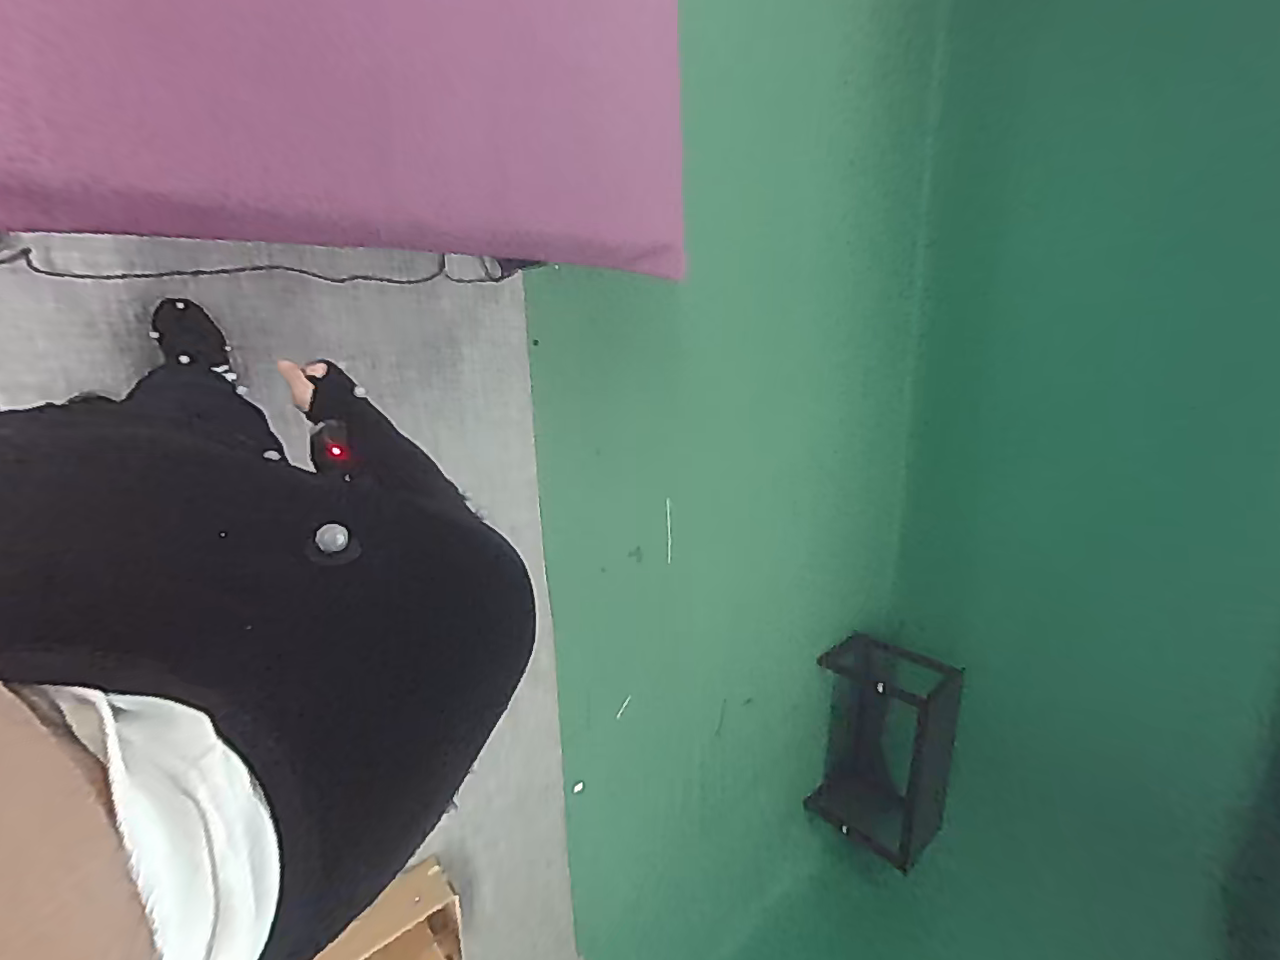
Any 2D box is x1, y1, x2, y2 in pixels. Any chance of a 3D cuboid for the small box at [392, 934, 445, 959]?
[{"bbox_3d":[-0.674,1.559,1.649,0.168,0.176,0.179,-18,113,-42],"label":"small box"}]
